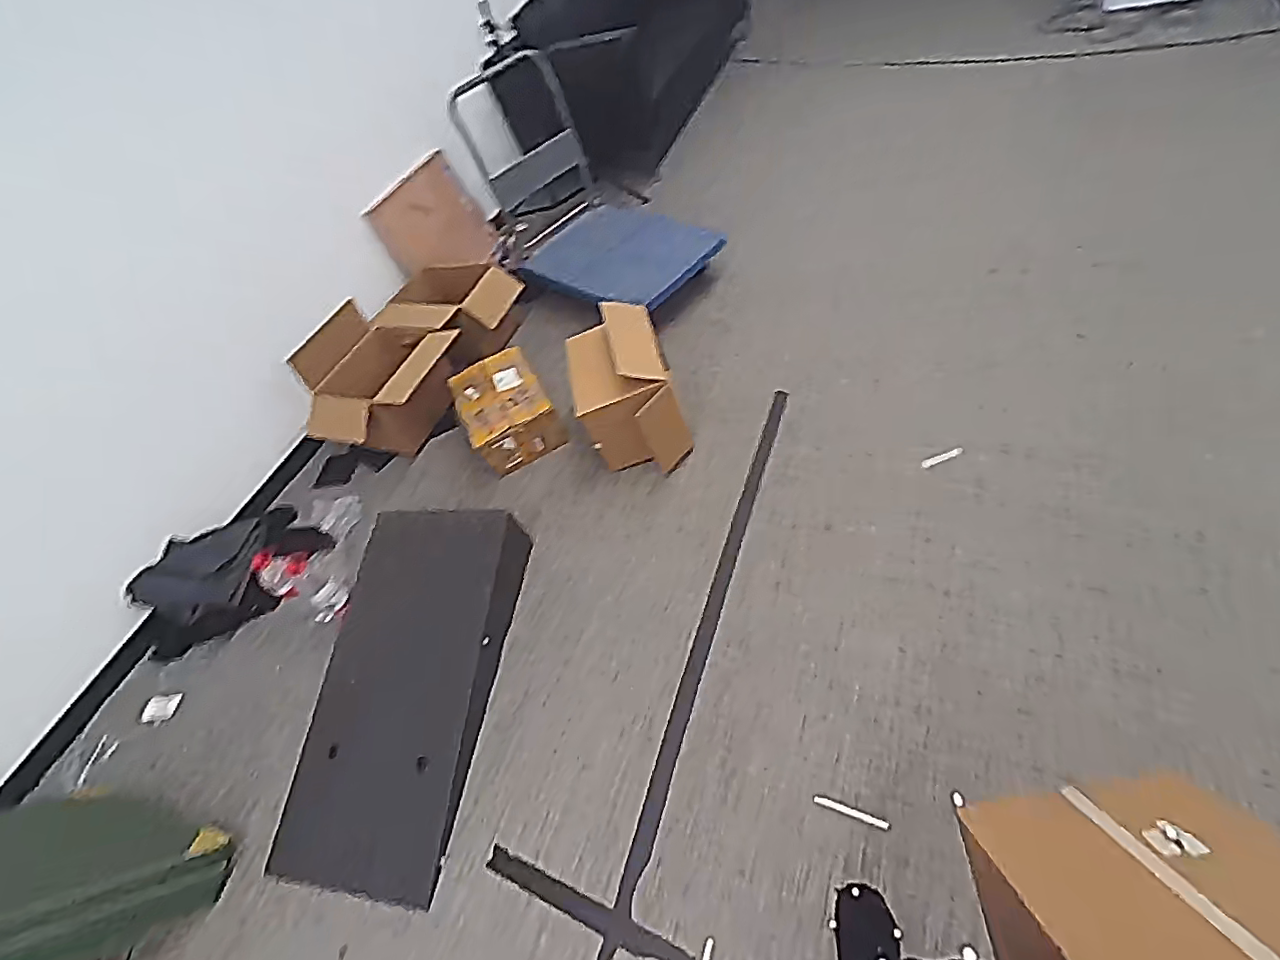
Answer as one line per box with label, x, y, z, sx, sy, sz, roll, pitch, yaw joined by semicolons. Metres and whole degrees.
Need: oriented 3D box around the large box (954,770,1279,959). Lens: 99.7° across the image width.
large box;0.634;0.600;0.600;0.320;0.408;0.320;-12;88;6
